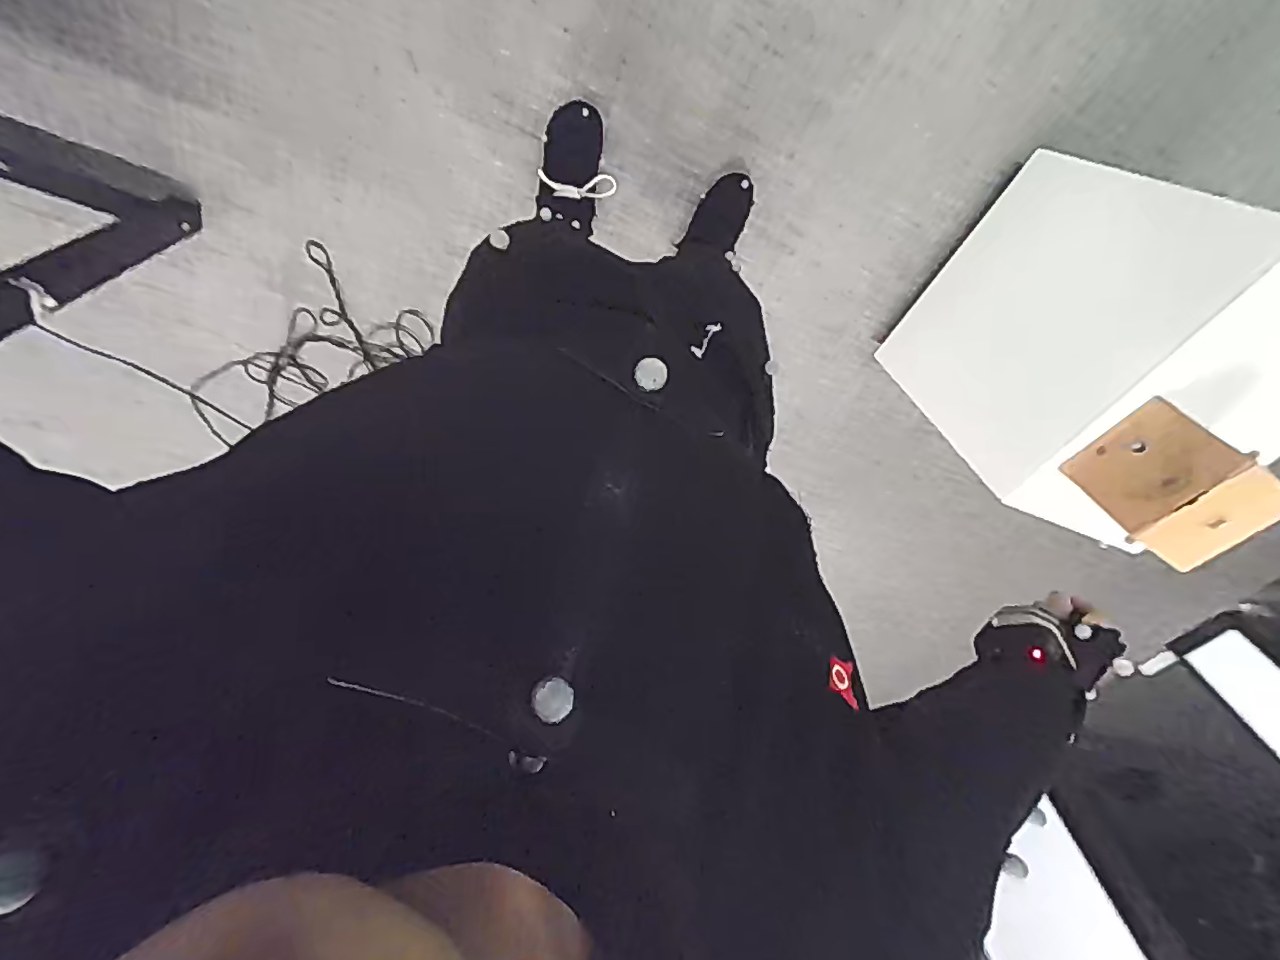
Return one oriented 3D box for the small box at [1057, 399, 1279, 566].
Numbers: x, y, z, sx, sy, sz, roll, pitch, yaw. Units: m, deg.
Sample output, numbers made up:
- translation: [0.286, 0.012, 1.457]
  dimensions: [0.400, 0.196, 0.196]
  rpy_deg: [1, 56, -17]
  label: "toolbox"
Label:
- translation: [0.819, 0.001, 0.846]
  dimensions: [0.179, 0.176, 0.168]
  rpy_deg: [23, 125, -24]
  label: "small box"
